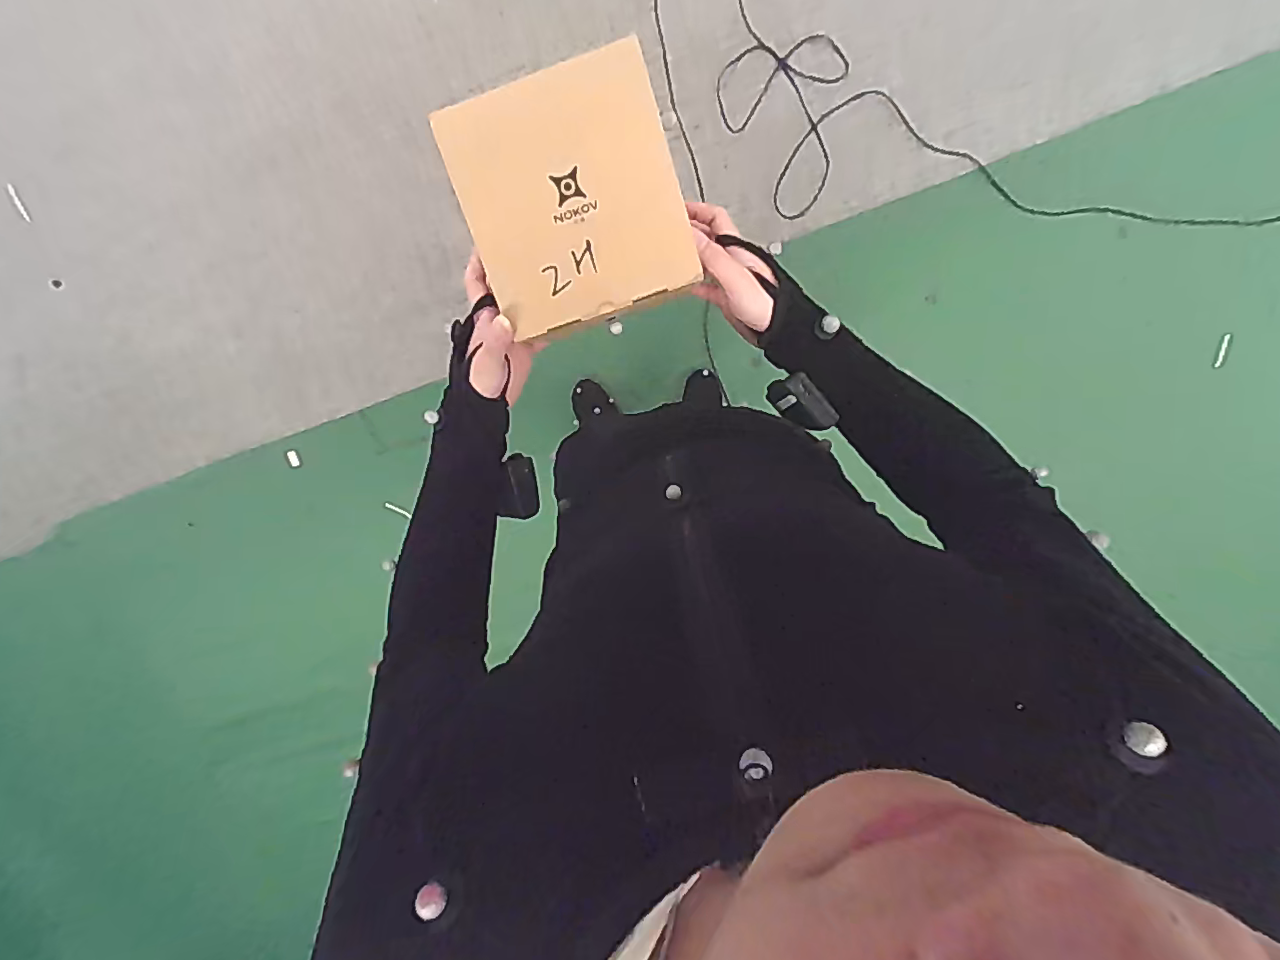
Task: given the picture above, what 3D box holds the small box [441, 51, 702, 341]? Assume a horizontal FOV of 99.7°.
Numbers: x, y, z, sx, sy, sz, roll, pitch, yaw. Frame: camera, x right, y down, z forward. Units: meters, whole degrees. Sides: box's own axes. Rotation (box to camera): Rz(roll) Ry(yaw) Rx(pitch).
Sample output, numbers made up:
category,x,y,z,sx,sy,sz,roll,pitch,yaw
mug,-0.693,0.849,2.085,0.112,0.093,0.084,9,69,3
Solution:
category,x,y,z,sx,sy,sz,roll,pitch,yaw
small box,-0.051,-0.236,0.502,0.168,0.176,0.179,-17,105,5
